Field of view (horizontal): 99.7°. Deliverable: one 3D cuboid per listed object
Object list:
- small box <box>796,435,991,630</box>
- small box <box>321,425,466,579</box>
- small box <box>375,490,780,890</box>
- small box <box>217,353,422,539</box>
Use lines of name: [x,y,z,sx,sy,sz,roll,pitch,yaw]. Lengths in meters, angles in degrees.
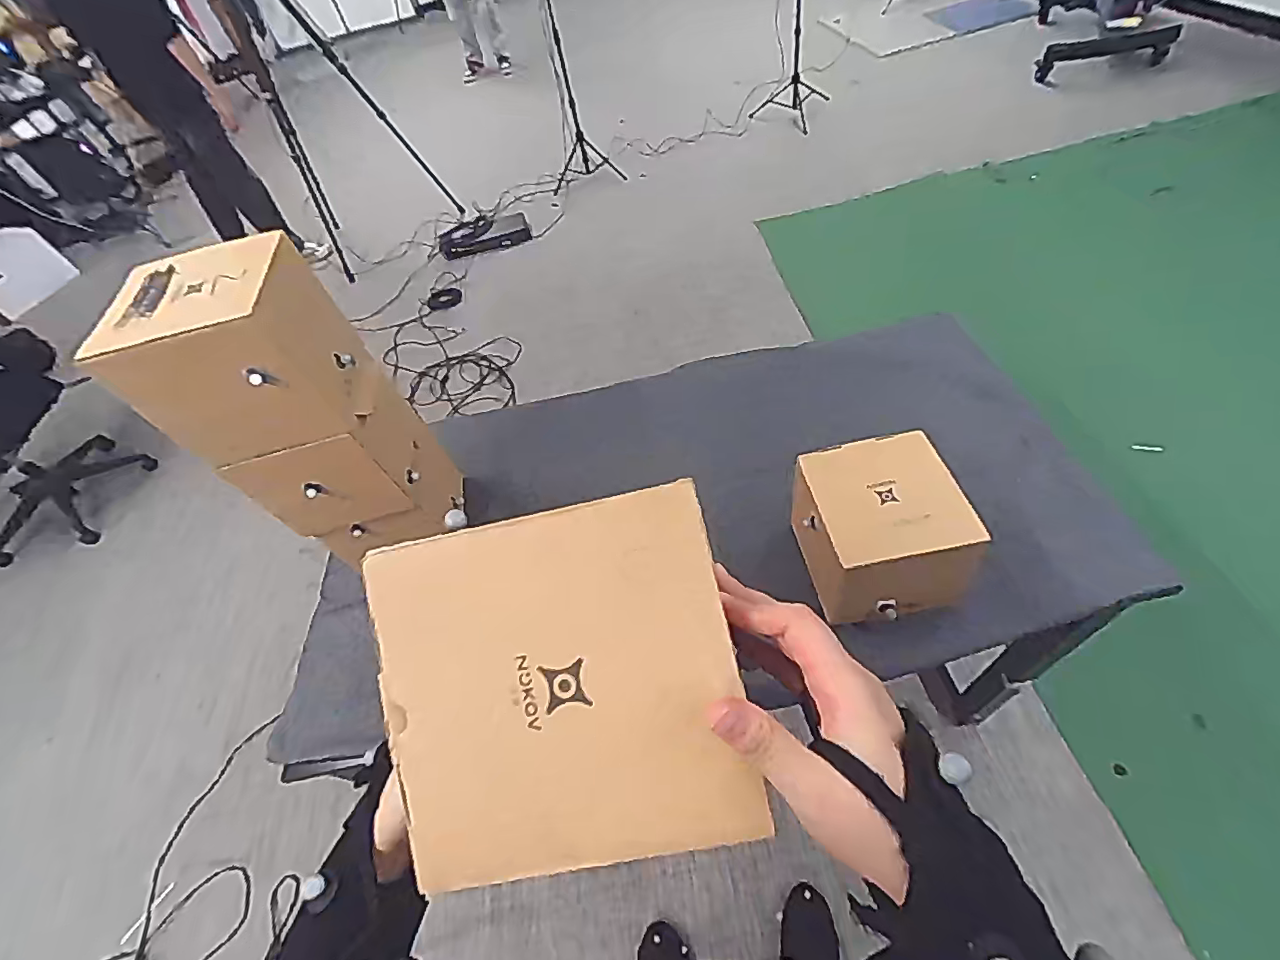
small box: [0.310,0.072,0.710,0.168,0.176,0.179,-13,50,4]
small box: [-0.400,0.043,0.895,0.168,0.176,0.179,-16,52,0]
small box: [-0.027,0.107,0.341,0.179,0.176,0.168,-14,83,6]
small box: [-0.425,-0.042,0.755,0.179,0.176,0.168,-16,53,1]
